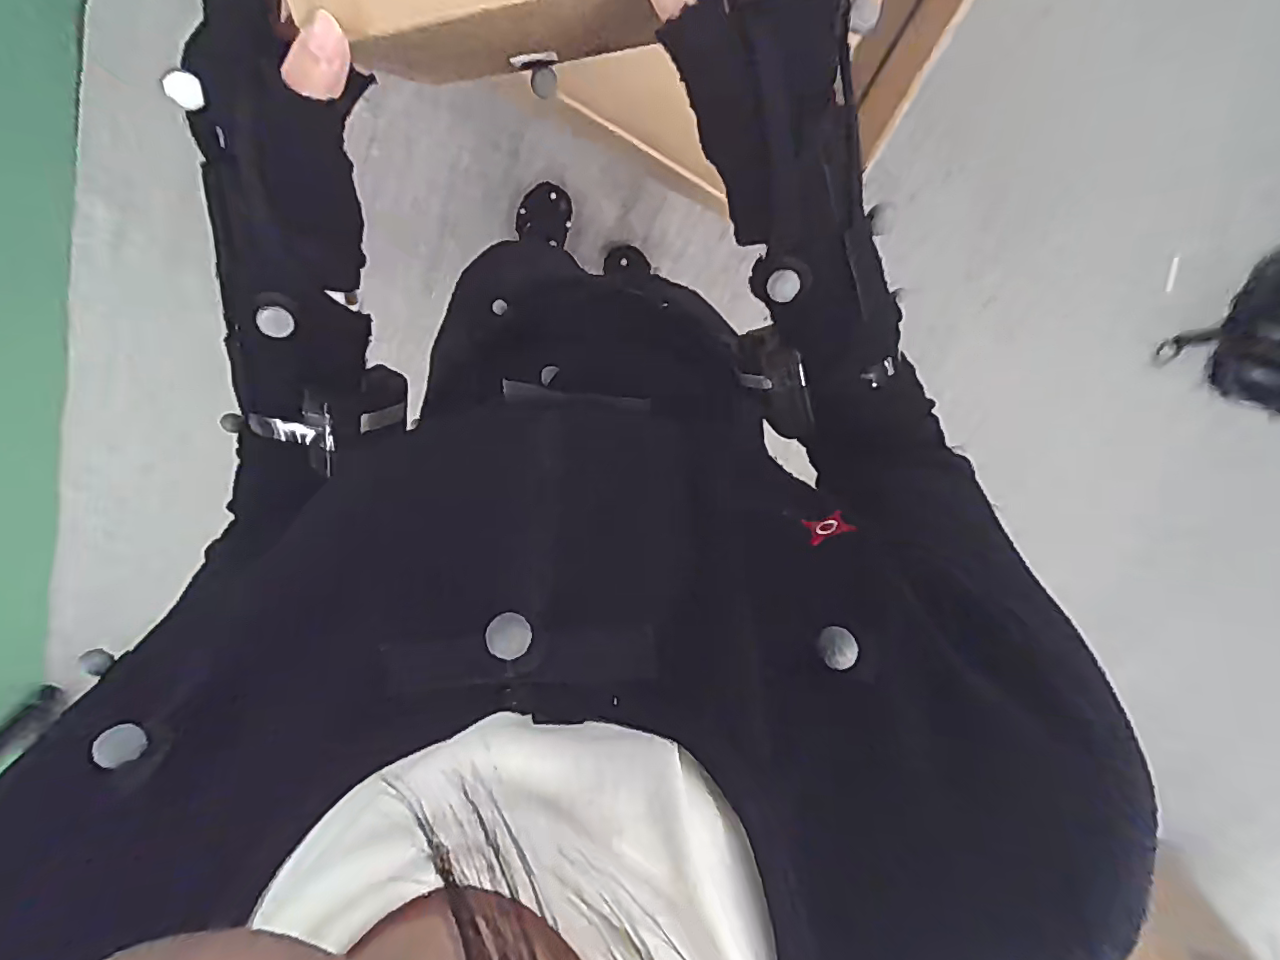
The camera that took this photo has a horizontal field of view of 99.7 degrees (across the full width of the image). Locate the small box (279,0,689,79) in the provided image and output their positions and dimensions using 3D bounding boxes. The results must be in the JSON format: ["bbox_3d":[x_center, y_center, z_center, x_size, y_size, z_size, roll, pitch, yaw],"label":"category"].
[{"bbox_3d":[-0.067,-0.295,0.224,0.168,0.176,0.179,-9,122,5],"label":"small box"}]
